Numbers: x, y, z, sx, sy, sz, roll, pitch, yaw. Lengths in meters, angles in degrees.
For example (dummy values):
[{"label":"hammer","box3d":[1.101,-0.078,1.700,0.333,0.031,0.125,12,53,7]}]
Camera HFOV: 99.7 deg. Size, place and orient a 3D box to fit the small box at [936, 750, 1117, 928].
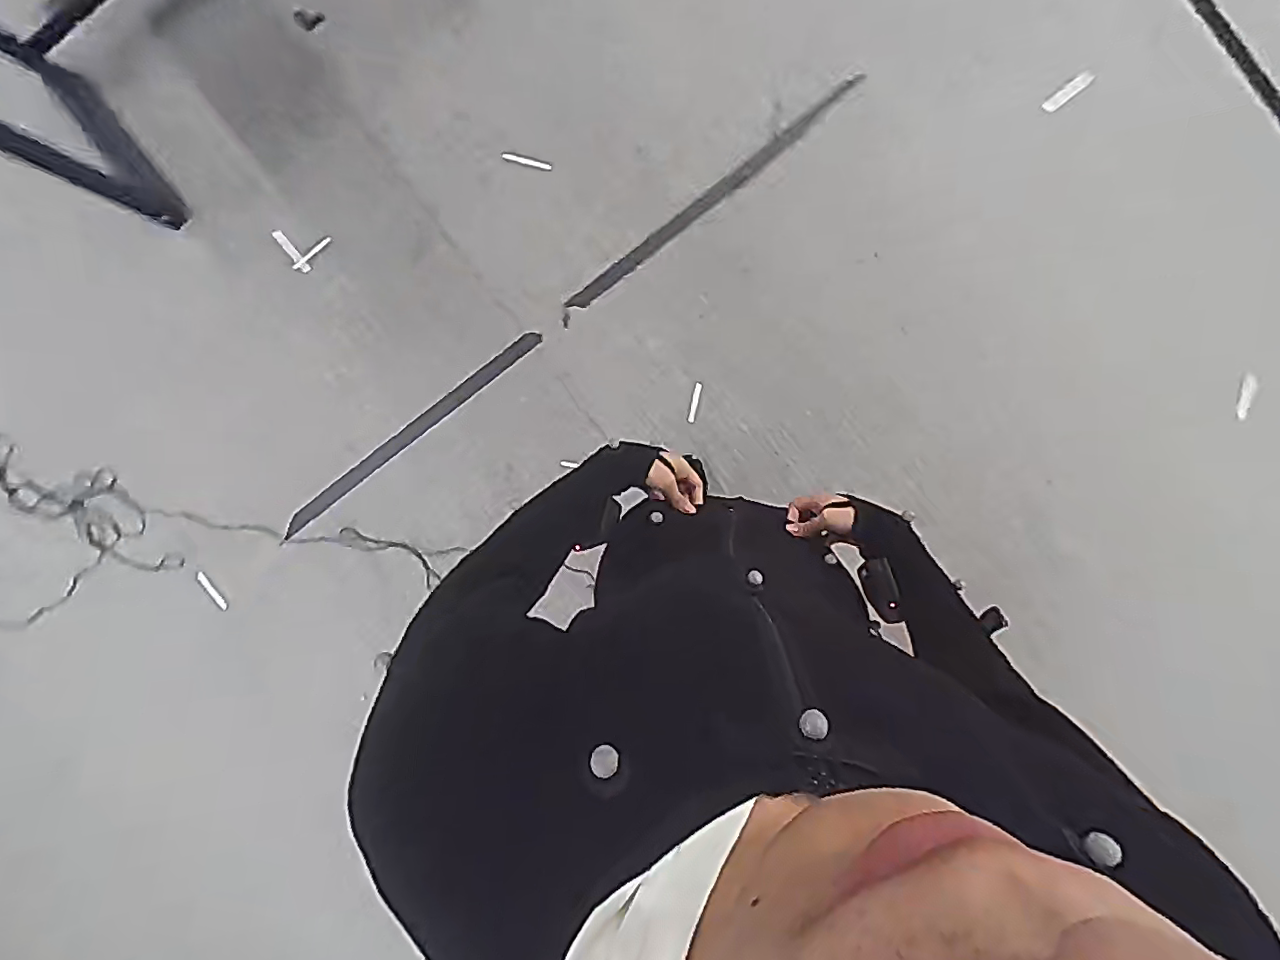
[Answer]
[{"label":"small box","box3d":[0.695,0.645,0.994,0.168,0.176,0.179,-37,93,2]}]
